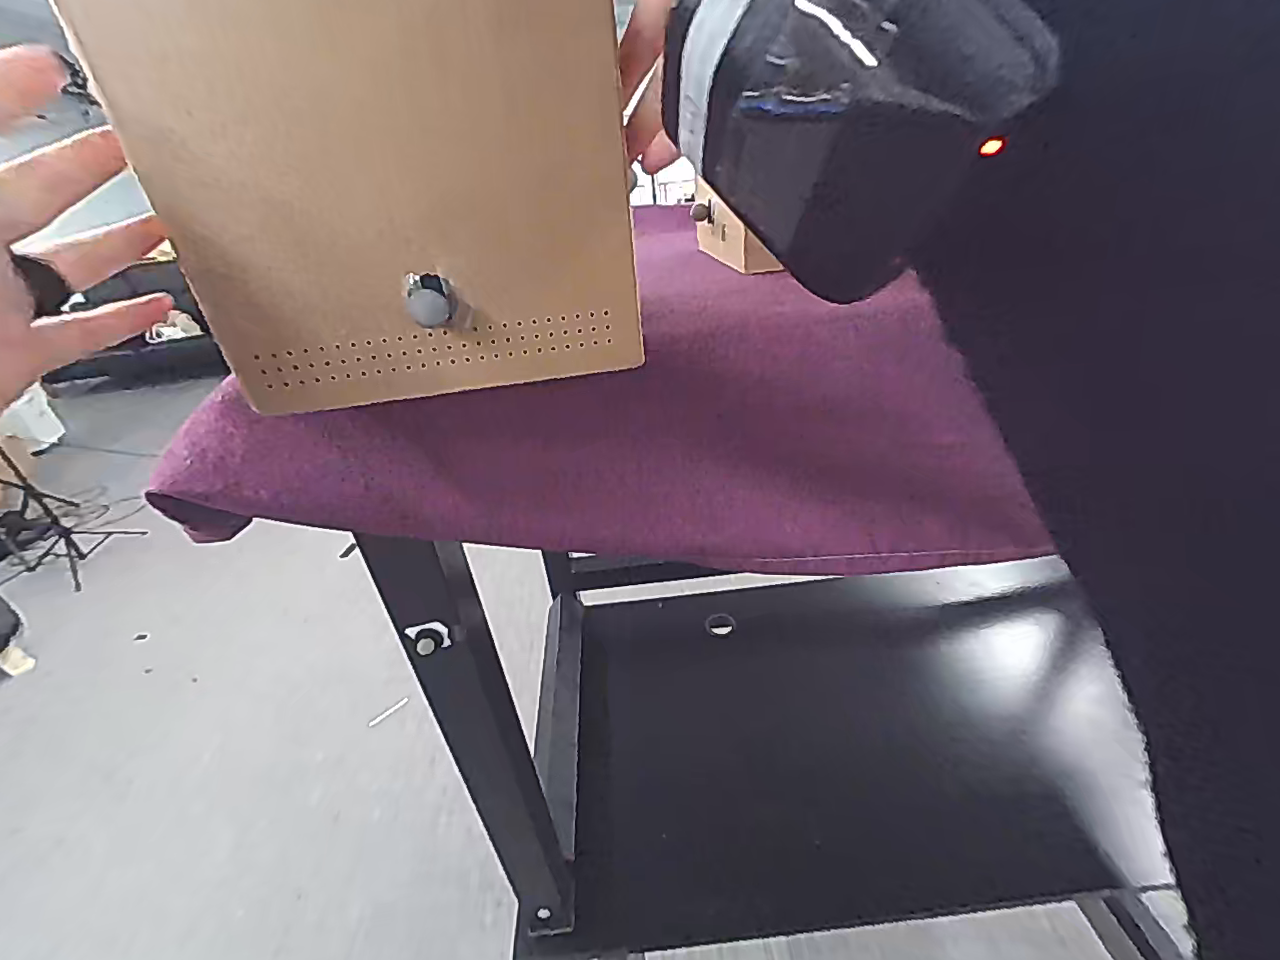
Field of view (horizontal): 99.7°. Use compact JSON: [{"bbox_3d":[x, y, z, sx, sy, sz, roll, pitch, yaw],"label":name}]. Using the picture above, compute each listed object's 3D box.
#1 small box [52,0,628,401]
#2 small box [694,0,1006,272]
[{"bbox_3d":[-0.102,-0.151,0.267,0.179,0.176,0.168,-9,30,-6],"label":"small box"},{"bbox_3d":[0.146,-0.277,0.442,0.179,0.176,0.168,-8,29,-3],"label":"small box"}]
